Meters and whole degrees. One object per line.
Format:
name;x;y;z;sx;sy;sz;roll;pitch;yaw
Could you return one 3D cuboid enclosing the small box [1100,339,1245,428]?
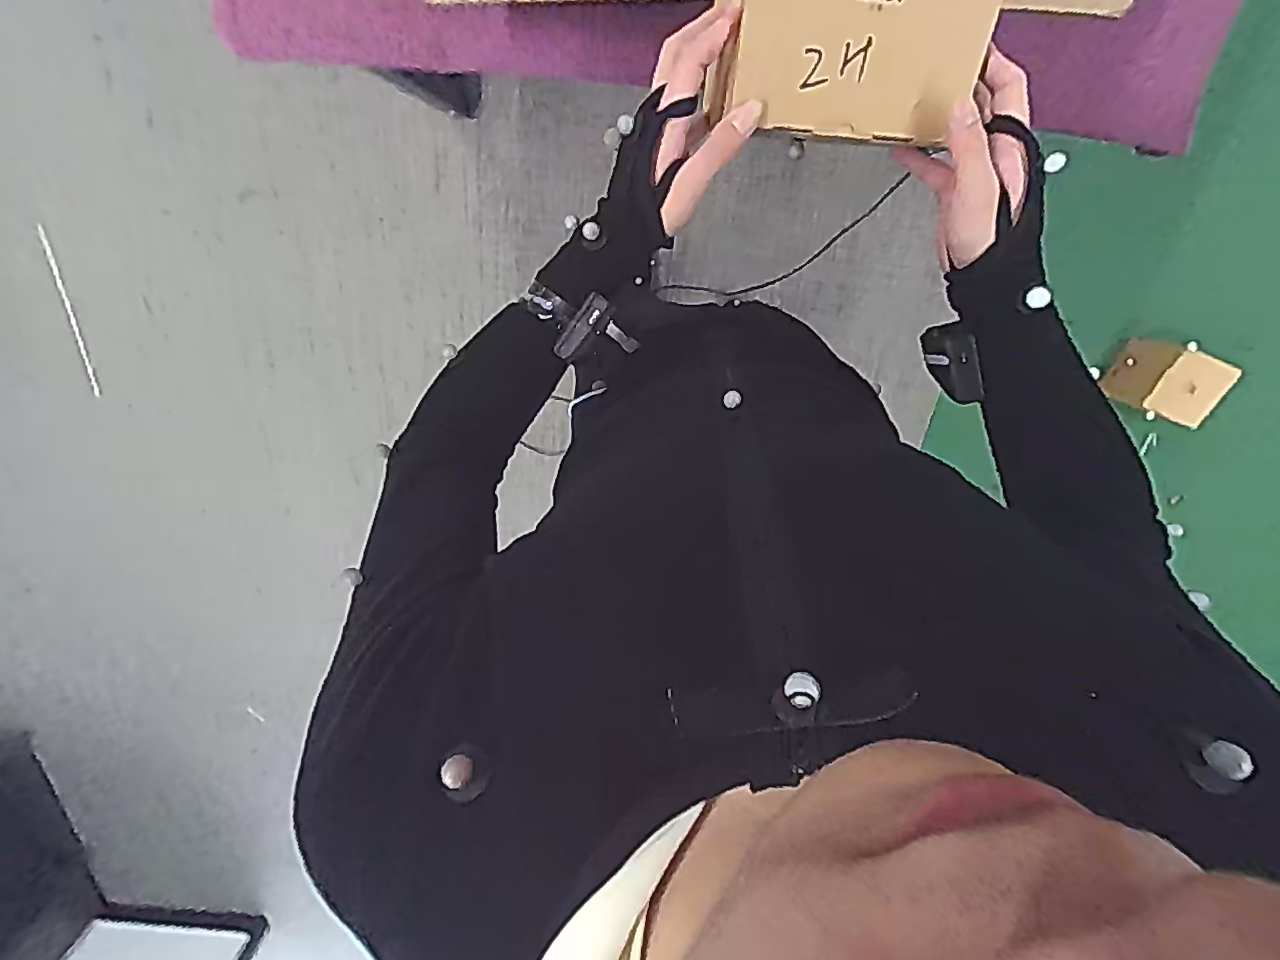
small box;1.413;-0.265;1.448;0.179;0.176;0.168;20;113;-6
